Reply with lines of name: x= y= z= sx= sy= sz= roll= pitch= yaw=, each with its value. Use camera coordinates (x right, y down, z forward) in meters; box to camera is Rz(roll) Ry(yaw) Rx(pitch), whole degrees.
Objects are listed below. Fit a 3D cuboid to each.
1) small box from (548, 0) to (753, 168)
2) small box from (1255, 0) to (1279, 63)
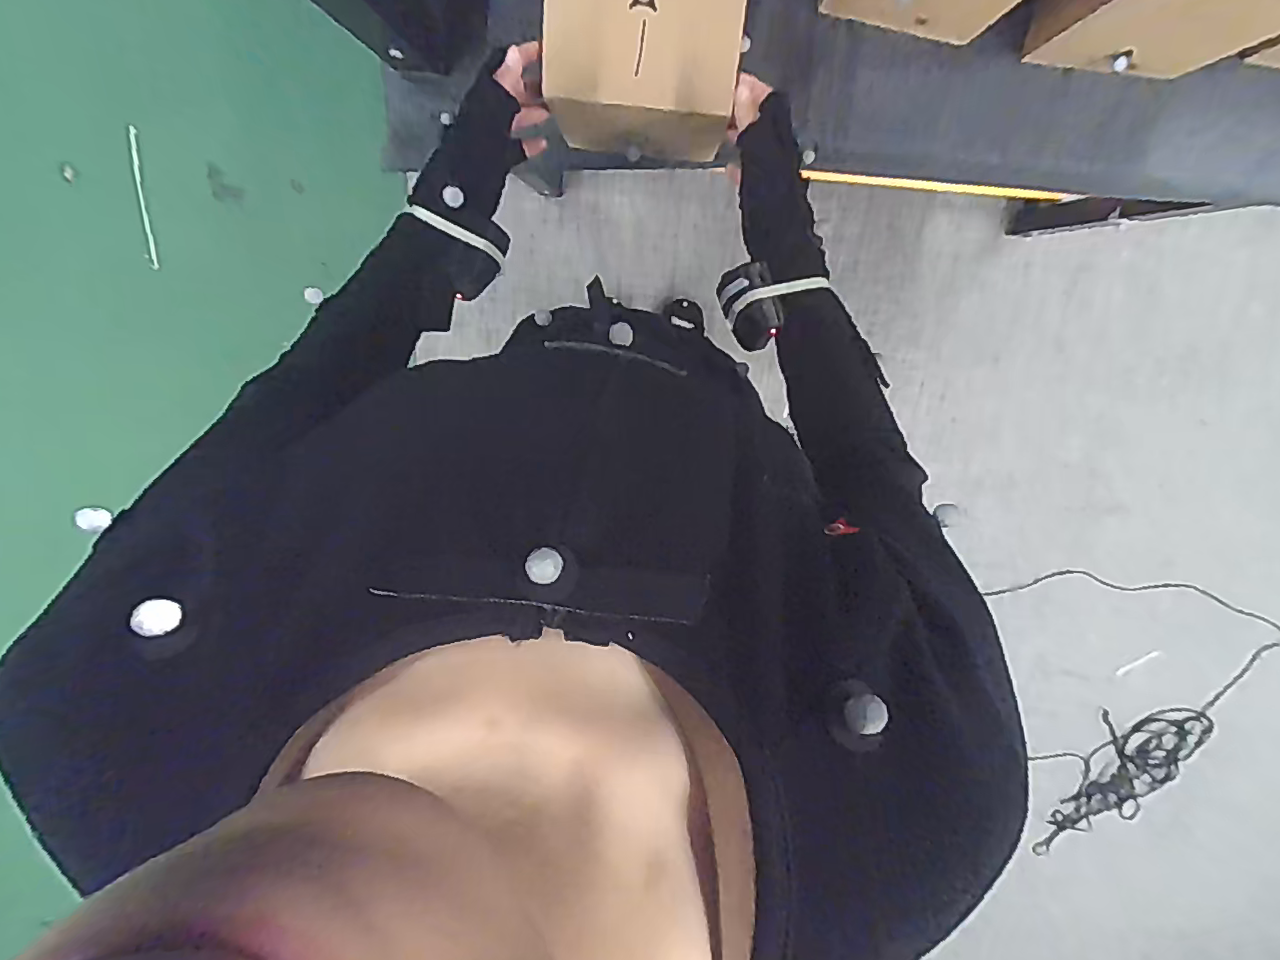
small box: x=0.012 y=-0.421 z=0.514 sx=0.168 sy=0.176 sz=0.179 roll=6 pitch=109 yaw=0
small box: x=0.722 y=-0.480 z=0.469 sx=0.168 sy=0.176 sz=0.179 roll=8 pitch=109 yaw=-1
